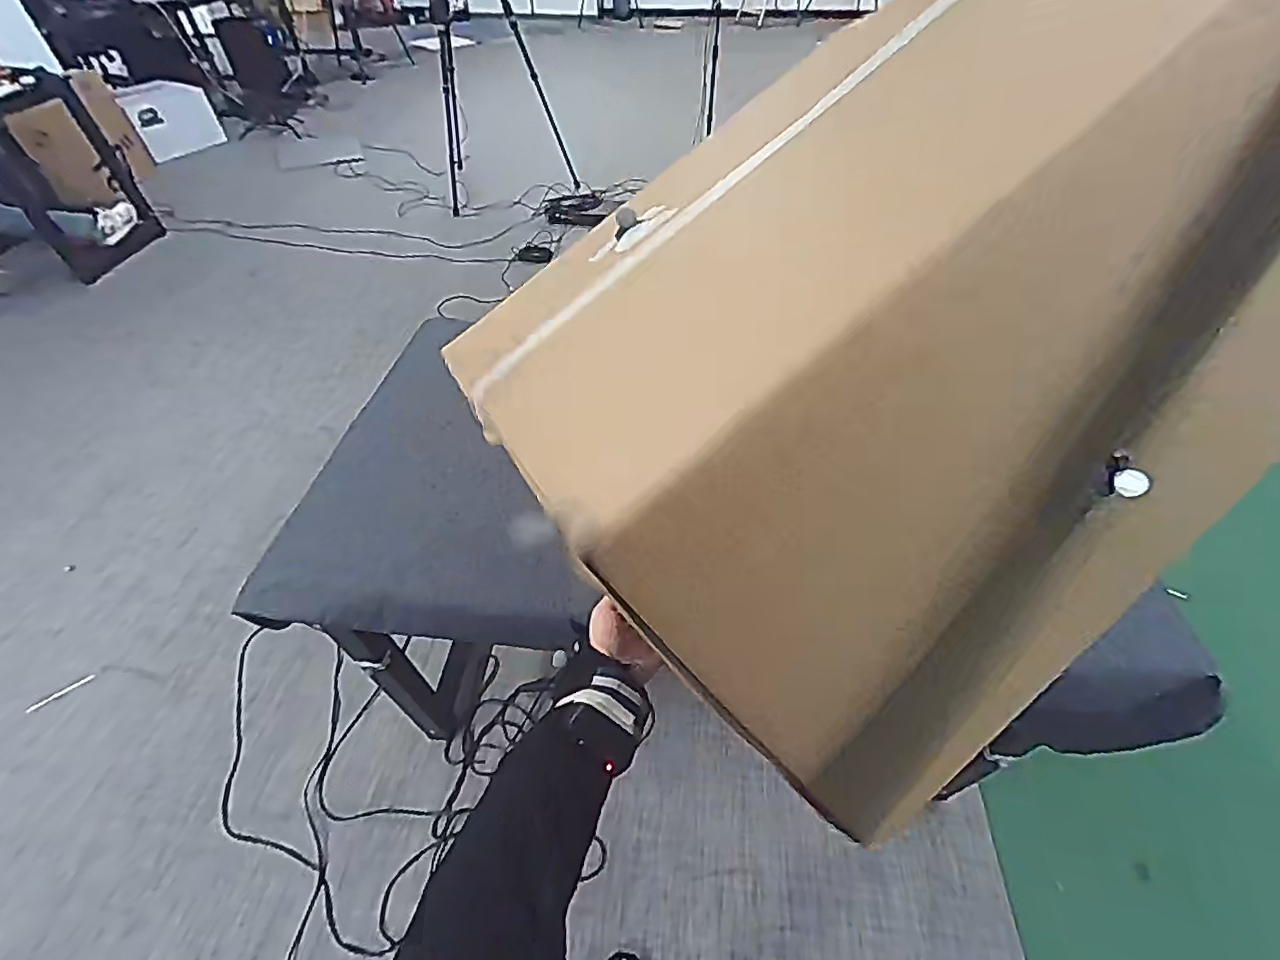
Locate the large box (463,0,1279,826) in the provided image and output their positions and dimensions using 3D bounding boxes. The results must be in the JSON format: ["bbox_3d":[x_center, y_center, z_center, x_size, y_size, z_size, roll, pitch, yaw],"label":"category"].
[{"bbox_3d":[0.155,-0.061,0.390,0.408,0.320,0.320,-43,35,-5],"label":"large box"}]
